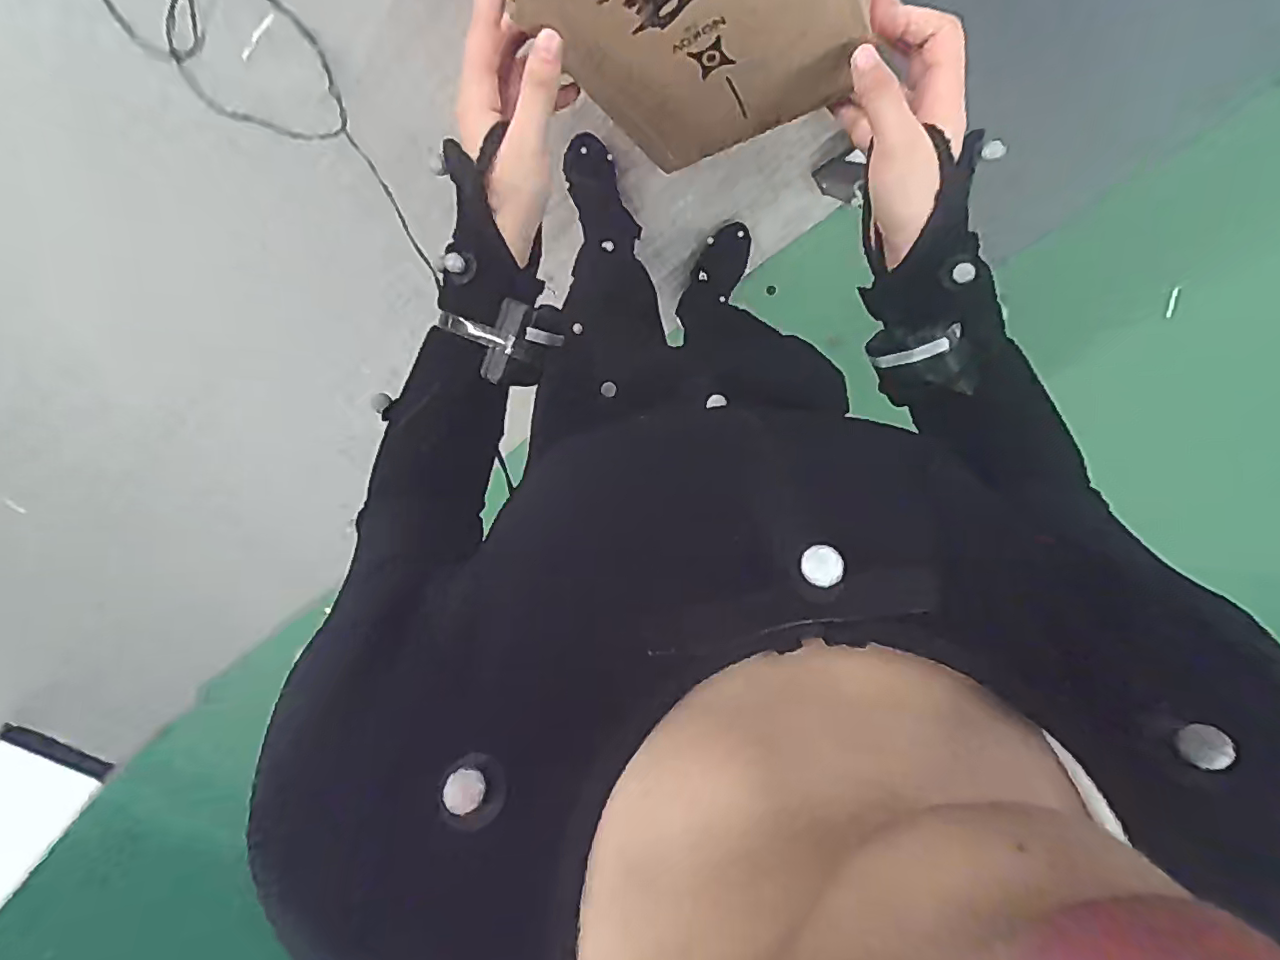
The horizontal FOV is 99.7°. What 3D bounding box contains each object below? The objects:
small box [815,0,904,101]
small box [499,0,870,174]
[{"bbox_3d":[0.335,-0.827,0.984,0.179,0.176,0.168,-38,115,24],"label":"small box"},{"bbox_3d":[0.032,-0.343,0.333,0.168,0.179,0.176,-6,81,35],"label":"small box"}]
